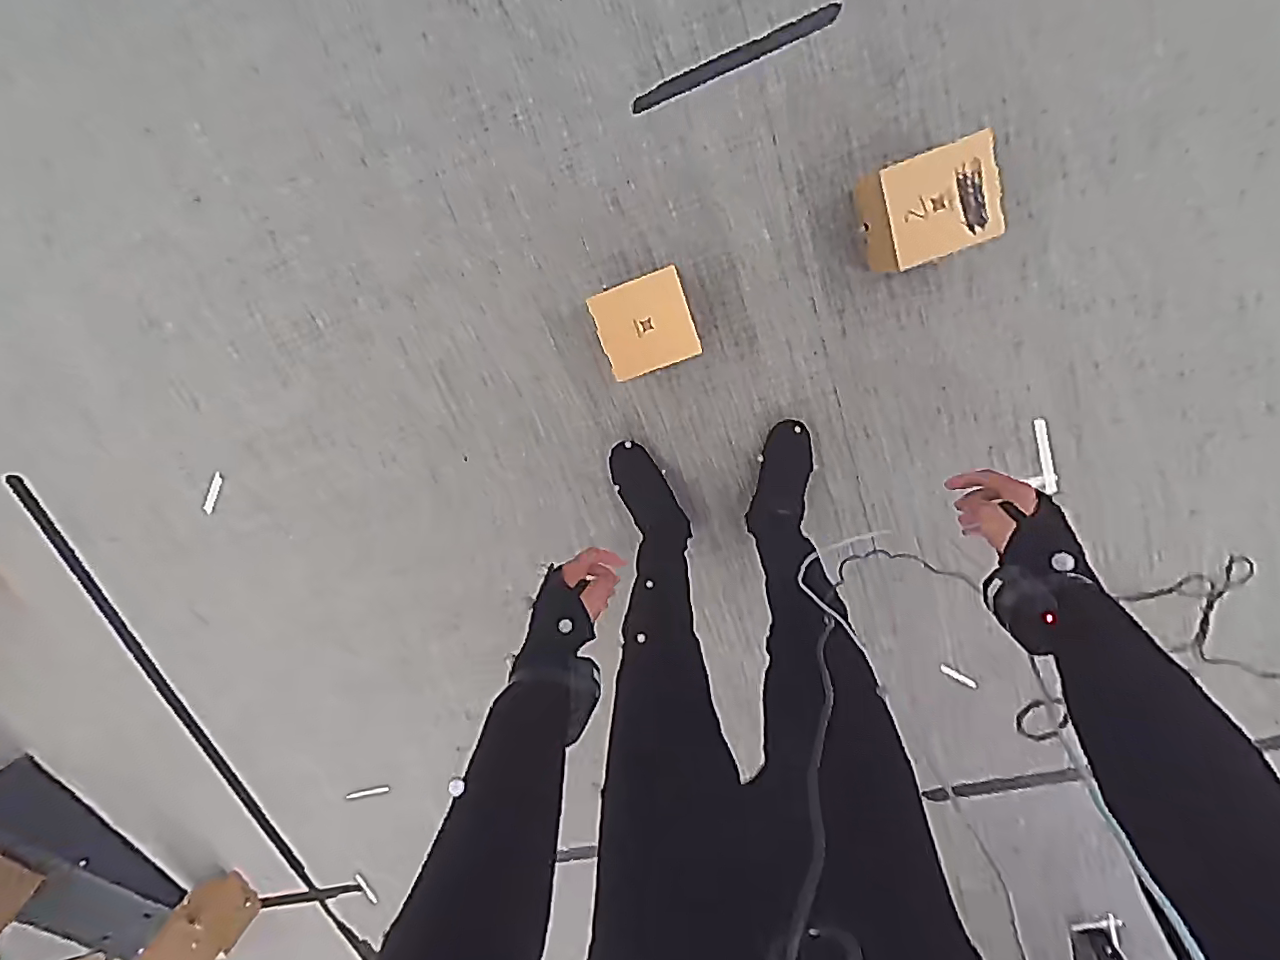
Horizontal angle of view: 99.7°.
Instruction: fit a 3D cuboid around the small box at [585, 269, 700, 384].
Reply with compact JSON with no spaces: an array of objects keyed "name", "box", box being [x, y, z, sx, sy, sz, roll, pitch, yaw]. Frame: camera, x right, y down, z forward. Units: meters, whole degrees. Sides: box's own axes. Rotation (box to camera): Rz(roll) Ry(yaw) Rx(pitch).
[{"name":"small box","box":[0.012,-0.307,1.072,0.179,0.176,0.168,-18,107,12]}]
